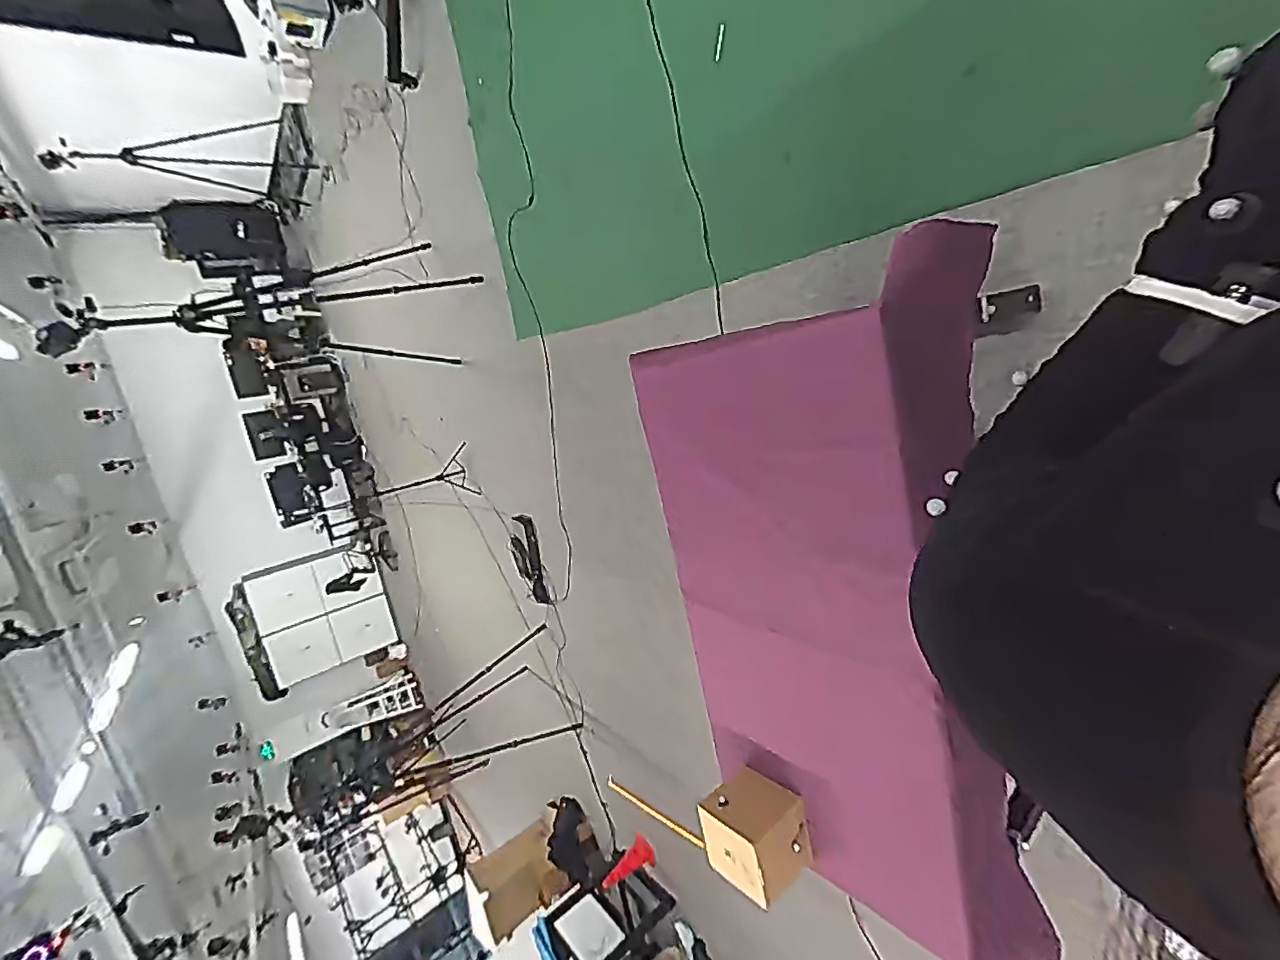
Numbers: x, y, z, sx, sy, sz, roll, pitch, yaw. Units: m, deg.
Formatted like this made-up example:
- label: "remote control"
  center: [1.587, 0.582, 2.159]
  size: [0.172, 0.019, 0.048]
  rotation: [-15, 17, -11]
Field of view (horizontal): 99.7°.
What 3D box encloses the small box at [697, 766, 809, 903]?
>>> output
- label: "small box"
  center: [0.261, 0.801, 1.249]
  size: [0.179, 0.176, 0.168]
  rotation: [1, 106, 53]
